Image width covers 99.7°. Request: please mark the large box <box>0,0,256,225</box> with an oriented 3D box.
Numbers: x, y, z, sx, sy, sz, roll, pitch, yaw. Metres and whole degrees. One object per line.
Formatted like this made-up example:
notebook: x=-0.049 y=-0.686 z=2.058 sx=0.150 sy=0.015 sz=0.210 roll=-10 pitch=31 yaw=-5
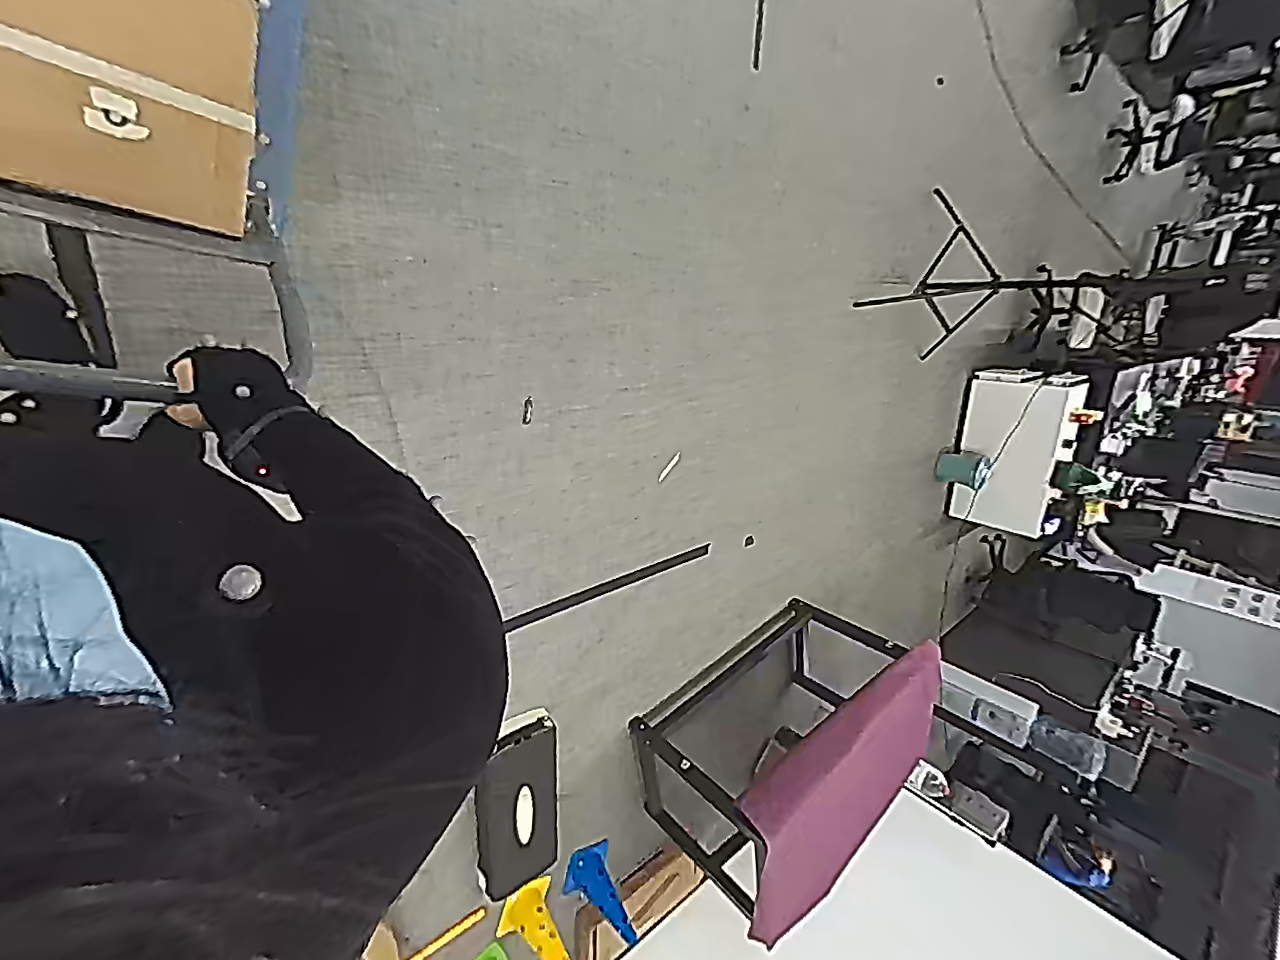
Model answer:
large box: x=-0.783 y=-0.588 z=0.717 sx=0.408 sy=0.320 sz=0.320 roll=0 pitch=123 yaw=-43
